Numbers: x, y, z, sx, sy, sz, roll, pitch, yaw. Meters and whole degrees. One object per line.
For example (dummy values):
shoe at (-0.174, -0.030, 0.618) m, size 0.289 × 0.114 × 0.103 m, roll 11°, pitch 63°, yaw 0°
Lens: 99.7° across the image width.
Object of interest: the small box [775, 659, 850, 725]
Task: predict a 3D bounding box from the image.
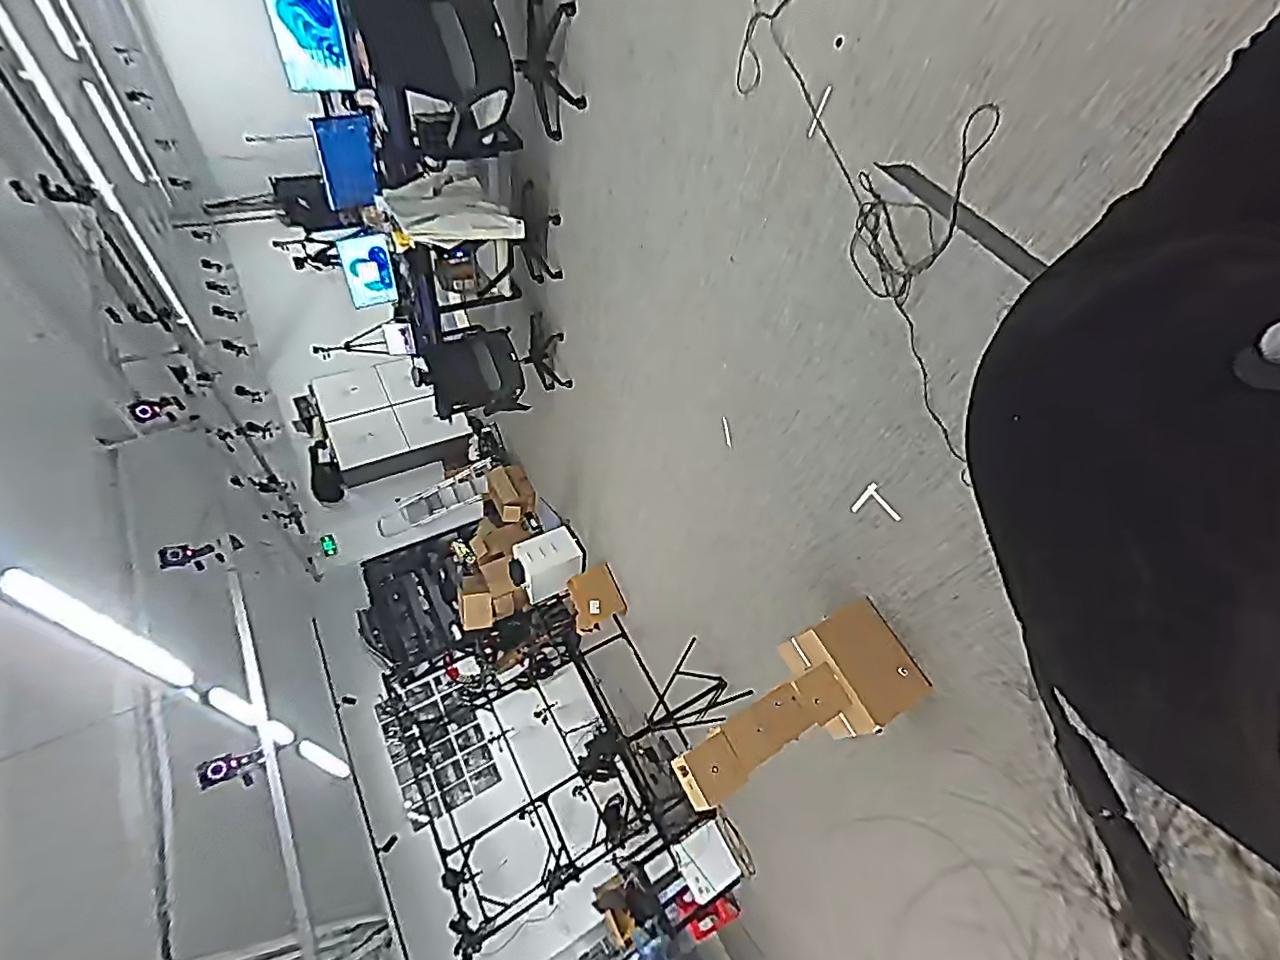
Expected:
small box at (0.654, 0.802, 2.041) m, size 0.179 × 0.176 × 0.168 m, roll 61°, pitch 154°, yaw 18°

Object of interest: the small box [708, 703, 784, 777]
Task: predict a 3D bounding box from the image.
small box at (0.374, 0.915, 1.917) m, size 0.179 × 0.176 × 0.168 m, roll 57°, pitch 153°, yaw 27°

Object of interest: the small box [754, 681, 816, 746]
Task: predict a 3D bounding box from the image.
small box at (0.516, 0.868, 1.984) m, size 0.168 × 0.176 × 0.179 m, roll 53°, pitch 152°, yaw 32°
